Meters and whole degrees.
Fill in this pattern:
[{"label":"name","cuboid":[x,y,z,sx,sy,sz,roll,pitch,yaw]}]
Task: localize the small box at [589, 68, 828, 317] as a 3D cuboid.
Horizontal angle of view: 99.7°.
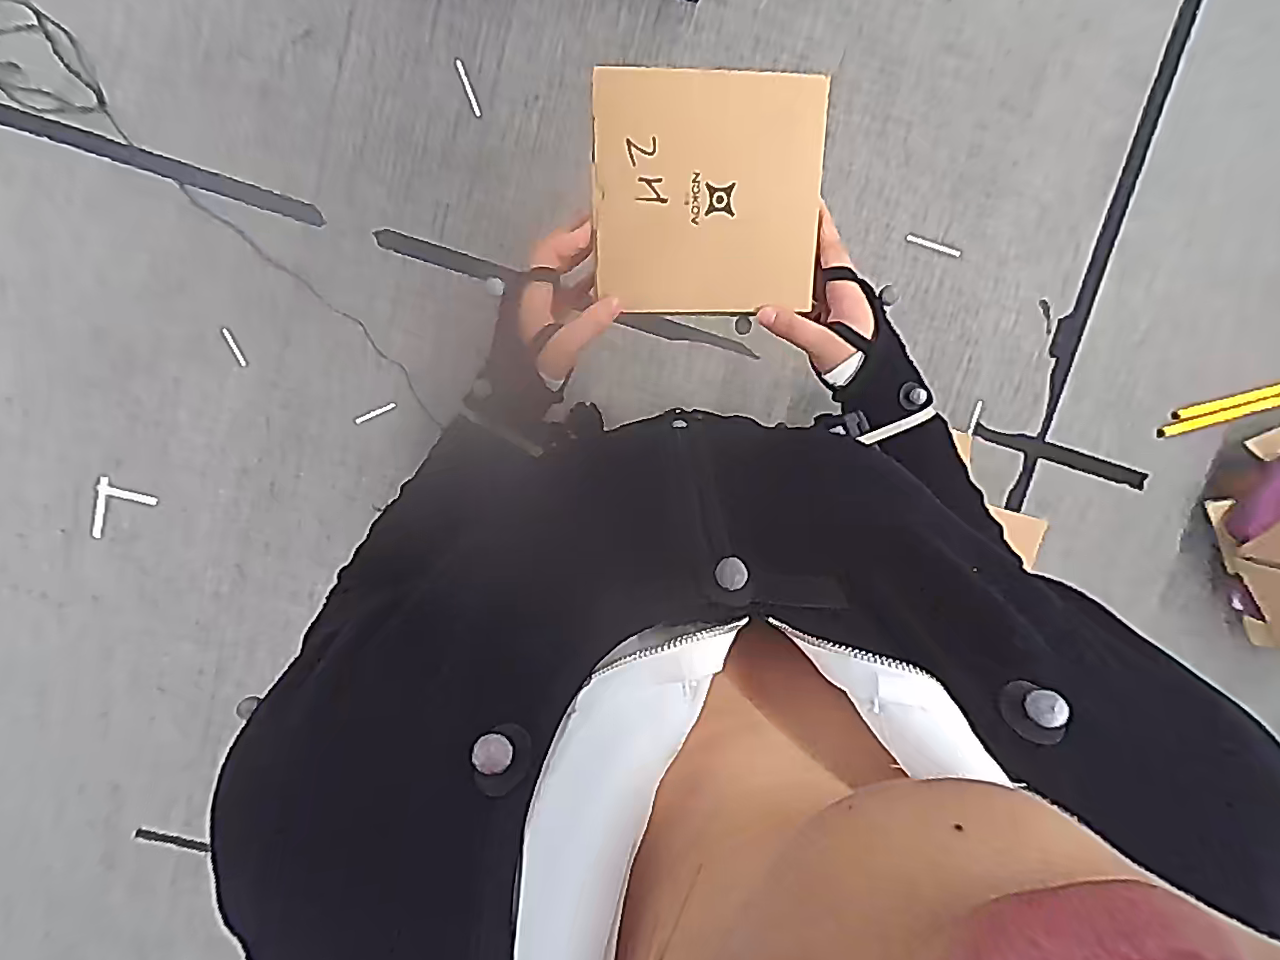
[{"label":"small box","cuboid":[0.044,-0.235,0.486,0.179,0.176,0.168,-1,106,-4]}]
